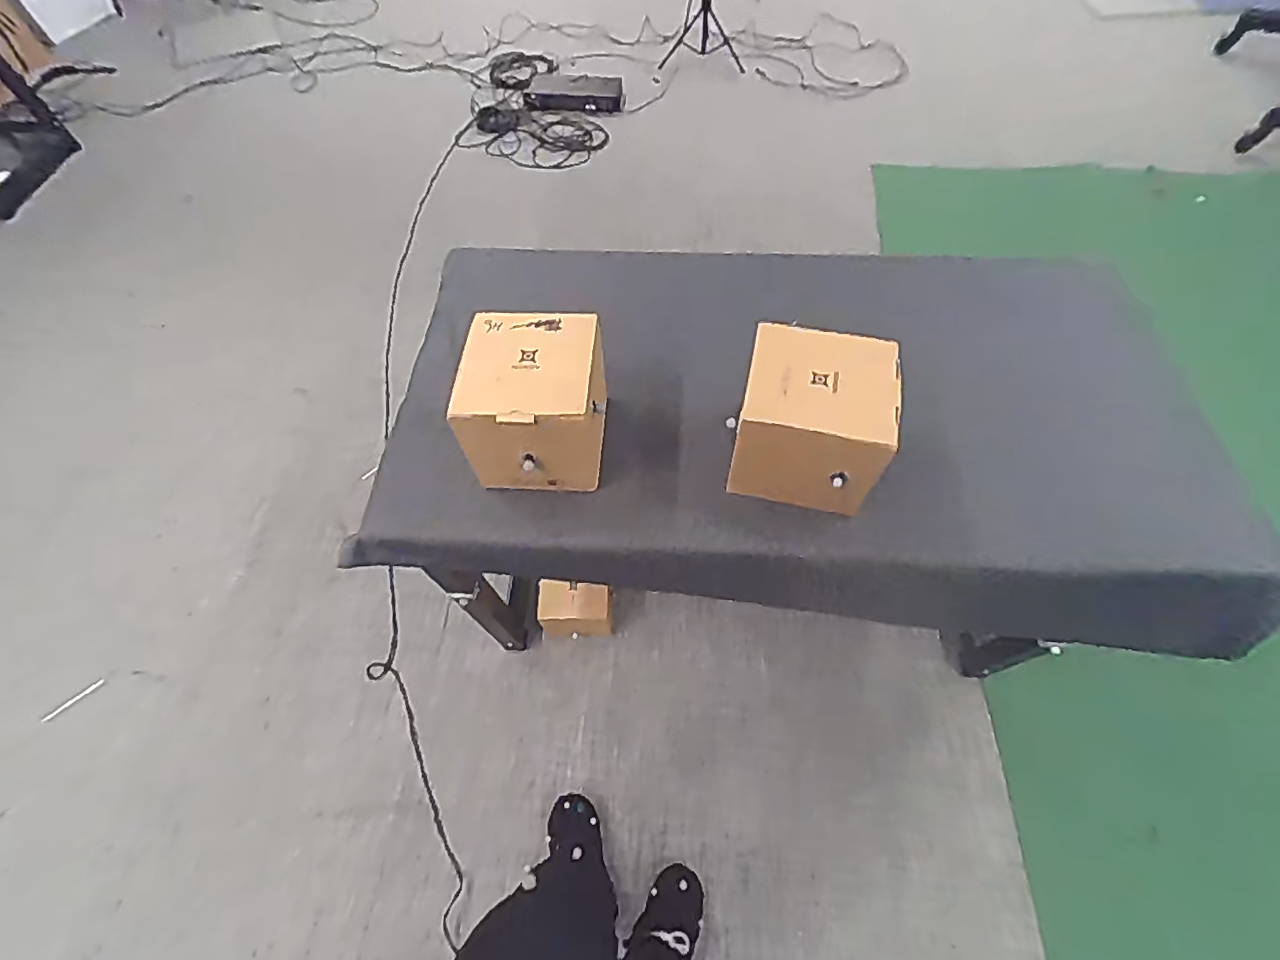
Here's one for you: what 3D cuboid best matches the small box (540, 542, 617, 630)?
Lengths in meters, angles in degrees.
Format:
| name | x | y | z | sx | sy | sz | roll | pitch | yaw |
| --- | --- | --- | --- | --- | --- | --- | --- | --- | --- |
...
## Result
| name | x | y | z | sx | sy | sz | roll | pitch | yaw |
| --- | --- | --- | --- | --- | --- | --- | --- | --- | --- |
| small box | -0.149 | 0.270 | 1.365 | 0.168 | 0.176 | 0.179 | -1 | 61 | 2 |

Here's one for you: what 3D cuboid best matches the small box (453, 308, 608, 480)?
| name | x | y | z | sx | sy | sz | roll | pitch | yaw |
| --- | --- | --- | --- | --- | --- | --- | --- | --- | --- |
| small box | -0.135 | -0.112 | 0.741 | 0.168 | 0.176 | 0.179 | 1 | 59 | 2 |

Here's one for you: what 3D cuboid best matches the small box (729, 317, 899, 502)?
| name | x | y | z | sx | sy | sz | roll | pitch | yaw |
| --- | --- | --- | --- | --- | --- | --- | --- | --- | --- |
| small box | 0.223 | -0.087 | 0.719 | 0.179 | 0.176 | 0.168 | 10 | 59 | 9 |
